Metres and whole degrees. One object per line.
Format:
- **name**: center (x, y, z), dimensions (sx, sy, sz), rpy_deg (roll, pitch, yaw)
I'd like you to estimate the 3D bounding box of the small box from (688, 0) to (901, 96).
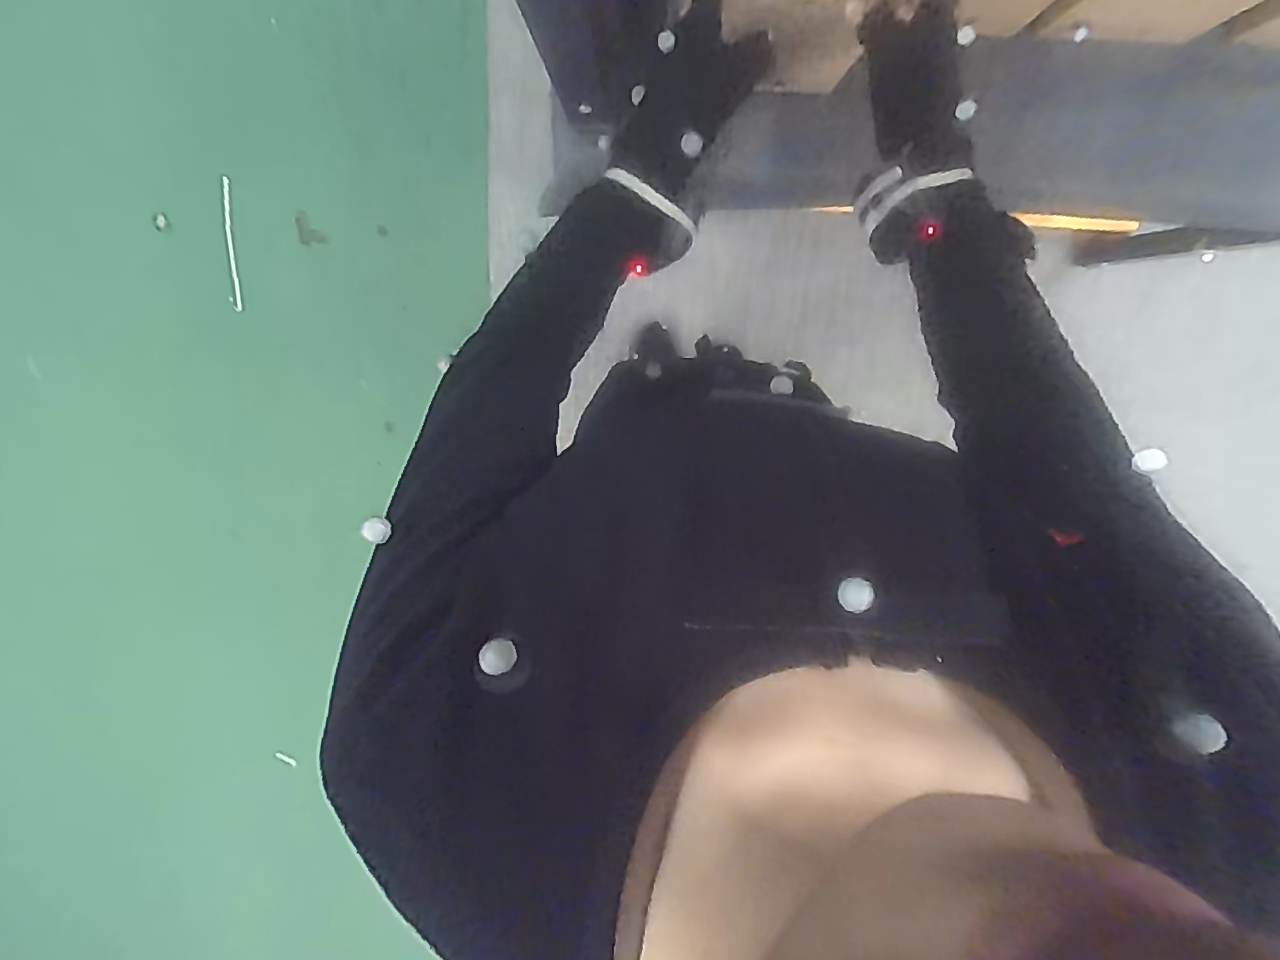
- **small box**: center (0.138, -0.505, 0.511), dimensions (0.168, 0.176, 0.179), rpy_deg (0, 102, -2)
